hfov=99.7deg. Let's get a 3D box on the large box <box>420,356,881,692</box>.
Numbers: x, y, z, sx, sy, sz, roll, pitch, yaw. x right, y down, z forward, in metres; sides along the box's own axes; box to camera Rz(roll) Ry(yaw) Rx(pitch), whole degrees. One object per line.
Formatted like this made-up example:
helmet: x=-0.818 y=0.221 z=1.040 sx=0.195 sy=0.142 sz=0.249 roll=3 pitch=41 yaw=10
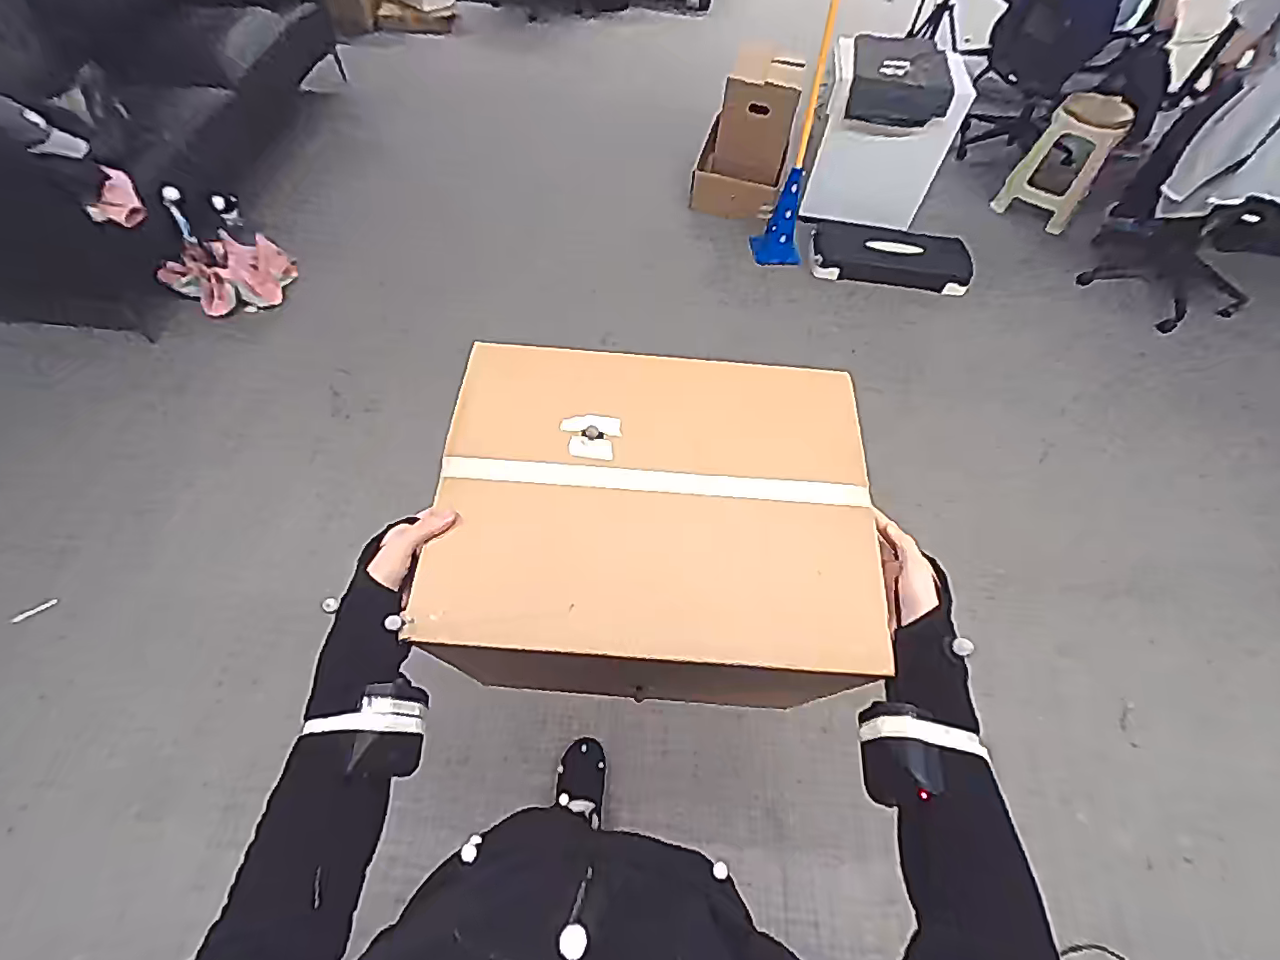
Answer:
large box: x=0.015 y=0.076 z=0.660 sx=0.408 sy=0.320 sz=0.320 roll=4 pitch=62 yaw=0
